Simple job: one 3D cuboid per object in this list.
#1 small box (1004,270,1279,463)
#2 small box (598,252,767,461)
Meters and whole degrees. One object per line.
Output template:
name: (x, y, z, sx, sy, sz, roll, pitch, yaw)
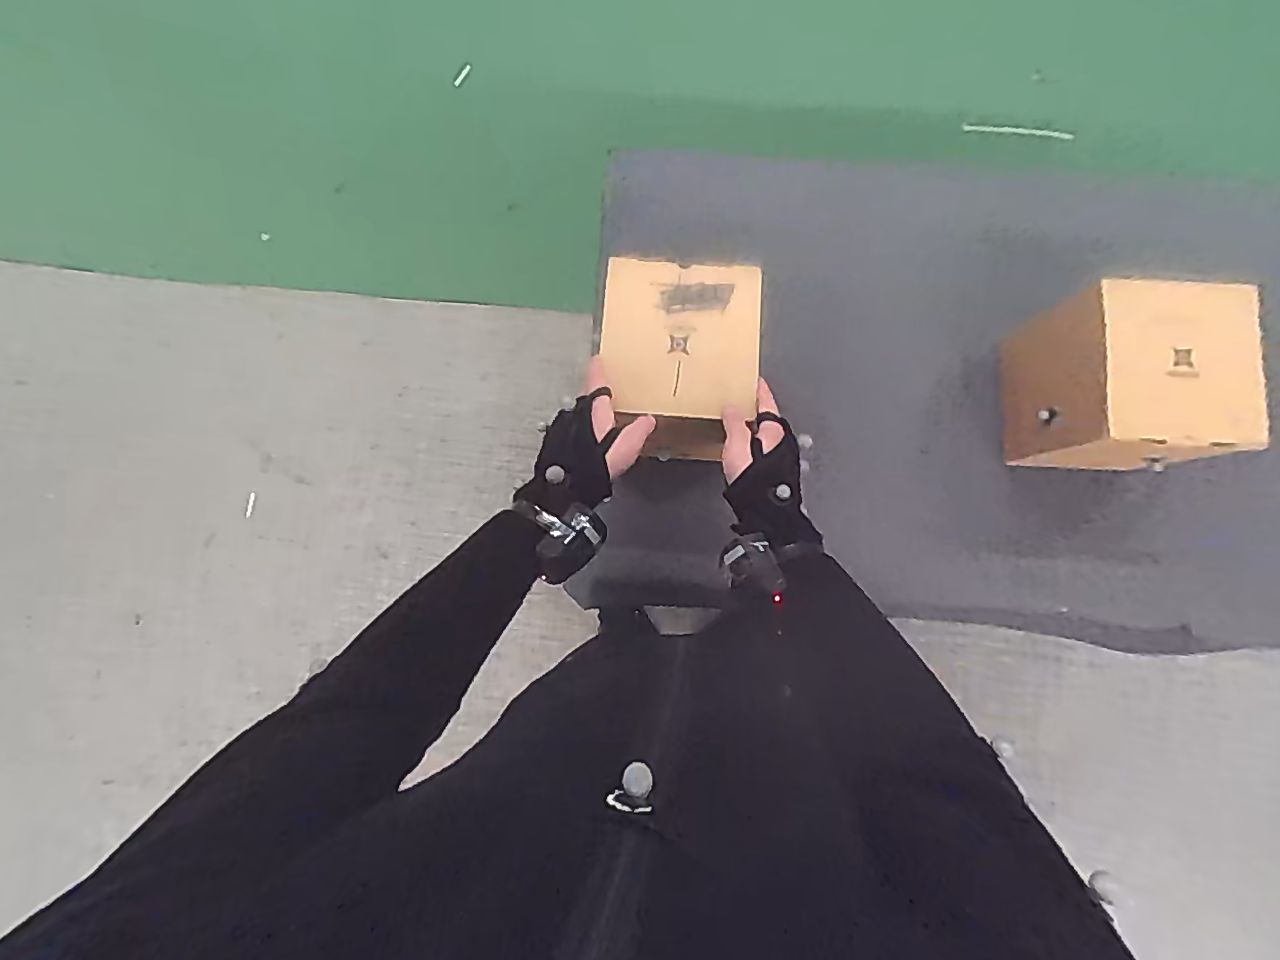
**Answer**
small box: (0.560, -0.118, 0.627, 0.168, 0.176, 0.179, 2, 81, 0)
small box: (0.045, -0.132, 0.625, 0.168, 0.176, 0.179, 4, 77, 1)
